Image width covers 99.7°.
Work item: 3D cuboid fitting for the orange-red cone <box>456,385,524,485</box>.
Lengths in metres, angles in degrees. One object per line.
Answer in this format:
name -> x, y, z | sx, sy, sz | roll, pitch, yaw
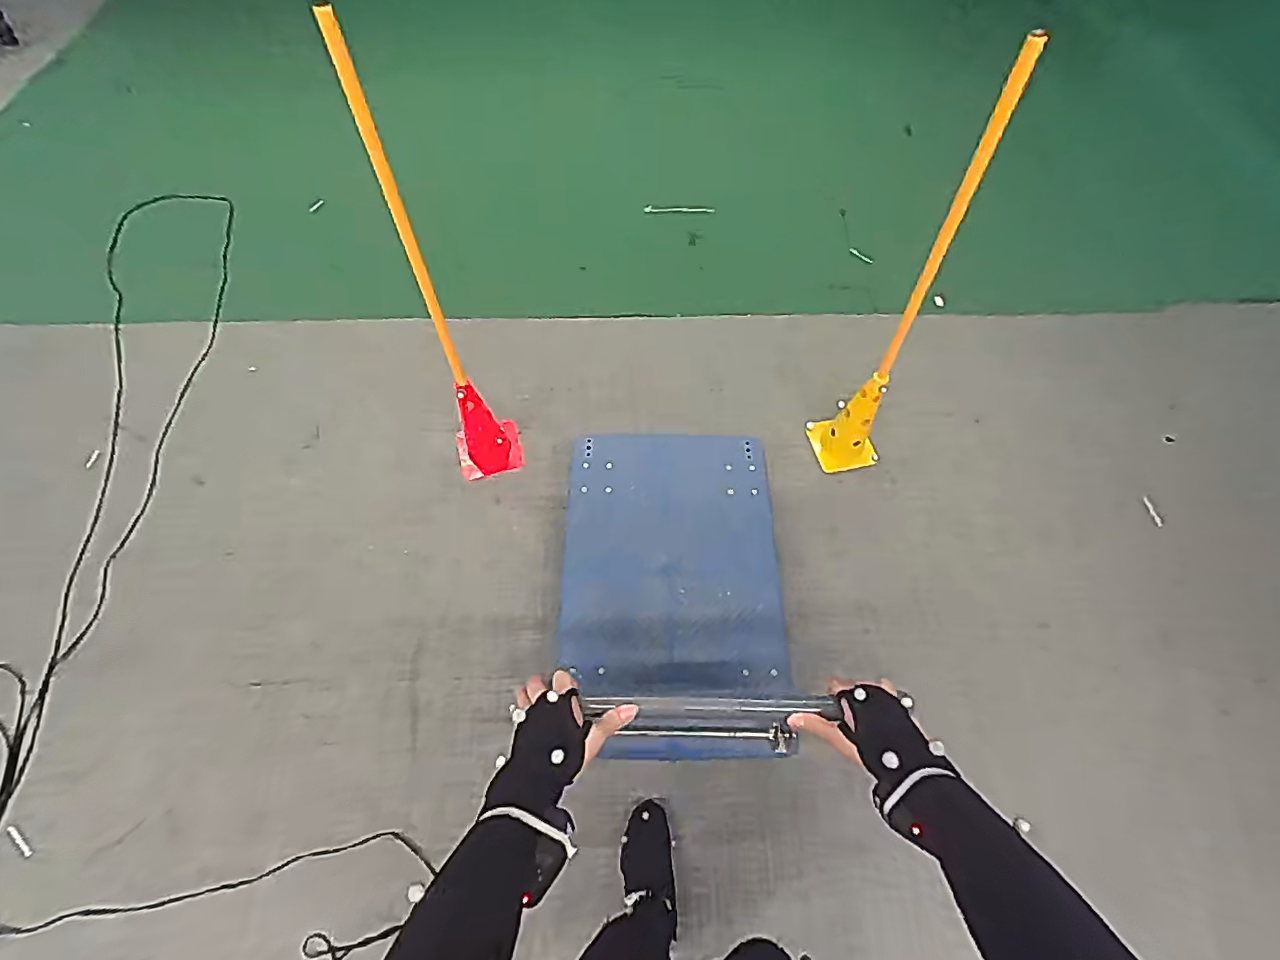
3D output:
orange-red cone -> -0.496, -0.163, 1.657 | 0.199, 0.360, 0.198 | -15, 61, -7
